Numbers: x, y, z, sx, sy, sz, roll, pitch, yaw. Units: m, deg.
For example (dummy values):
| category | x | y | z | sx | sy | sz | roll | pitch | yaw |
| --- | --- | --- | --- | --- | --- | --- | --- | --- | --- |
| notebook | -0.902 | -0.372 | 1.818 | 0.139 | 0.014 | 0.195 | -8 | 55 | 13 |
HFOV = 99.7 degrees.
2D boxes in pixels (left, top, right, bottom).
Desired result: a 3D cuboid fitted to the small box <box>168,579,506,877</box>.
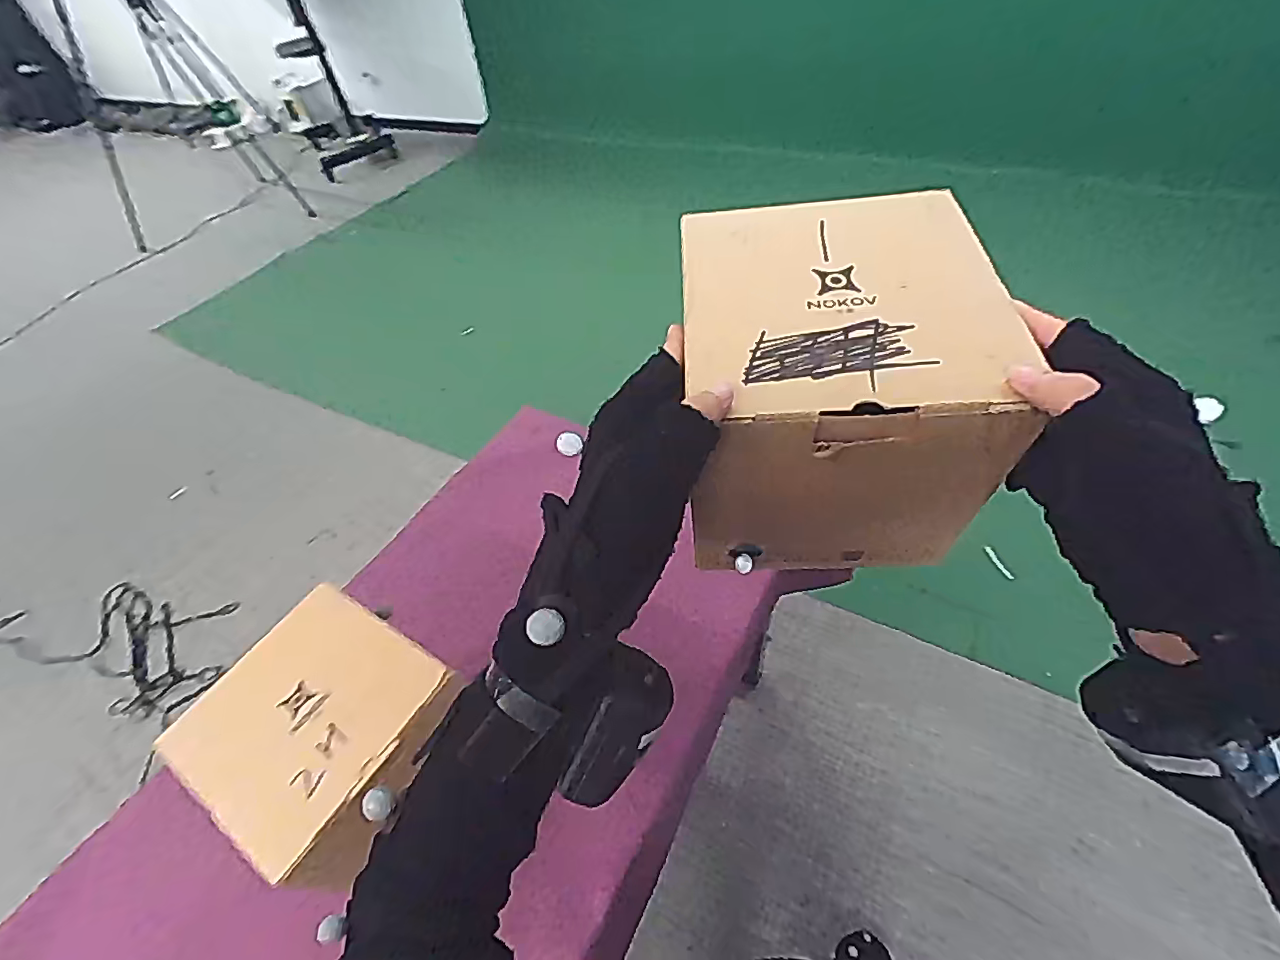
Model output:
| category | x | y | z | sx | sy | sz | roll | pitch | yaw |
| --- | --- | --- | --- | --- | --- | --- | --- | --- | --- |
| small box | -0.256 | 0.229 | 0.496 | 0.179 | 0.176 | 0.168 | 23 | 57 | 25 |

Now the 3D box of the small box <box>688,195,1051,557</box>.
| category | x | y | z | sx | sy | sz | roll | pitch | yaw |
| --- | --- | --- | --- | --- | --- | --- | --- | --- | --- |
| small box | 0.119 | -0.058 | 0.364 | 0.168 | 0.176 | 0.179 | -2 | 55 | 7 |
